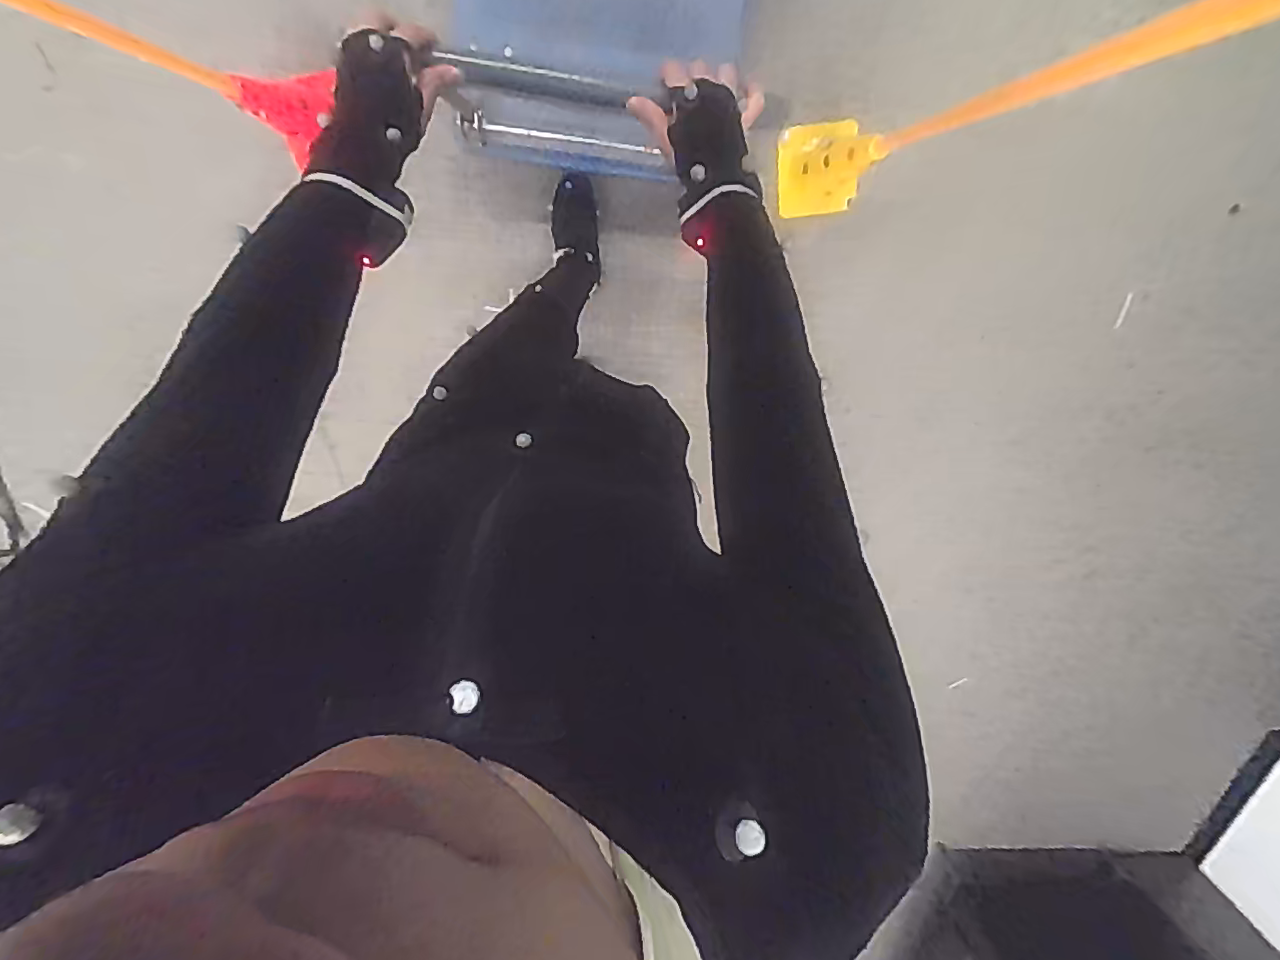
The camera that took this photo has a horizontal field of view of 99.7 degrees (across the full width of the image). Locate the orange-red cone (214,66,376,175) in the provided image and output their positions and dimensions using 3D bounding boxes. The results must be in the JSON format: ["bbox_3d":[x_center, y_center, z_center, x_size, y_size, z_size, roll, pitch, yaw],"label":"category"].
[{"bbox_3d":[-0.730,-0.764,1.102,0.199,0.360,0.198,-10,114,3],"label":"orange-red cone"}]
